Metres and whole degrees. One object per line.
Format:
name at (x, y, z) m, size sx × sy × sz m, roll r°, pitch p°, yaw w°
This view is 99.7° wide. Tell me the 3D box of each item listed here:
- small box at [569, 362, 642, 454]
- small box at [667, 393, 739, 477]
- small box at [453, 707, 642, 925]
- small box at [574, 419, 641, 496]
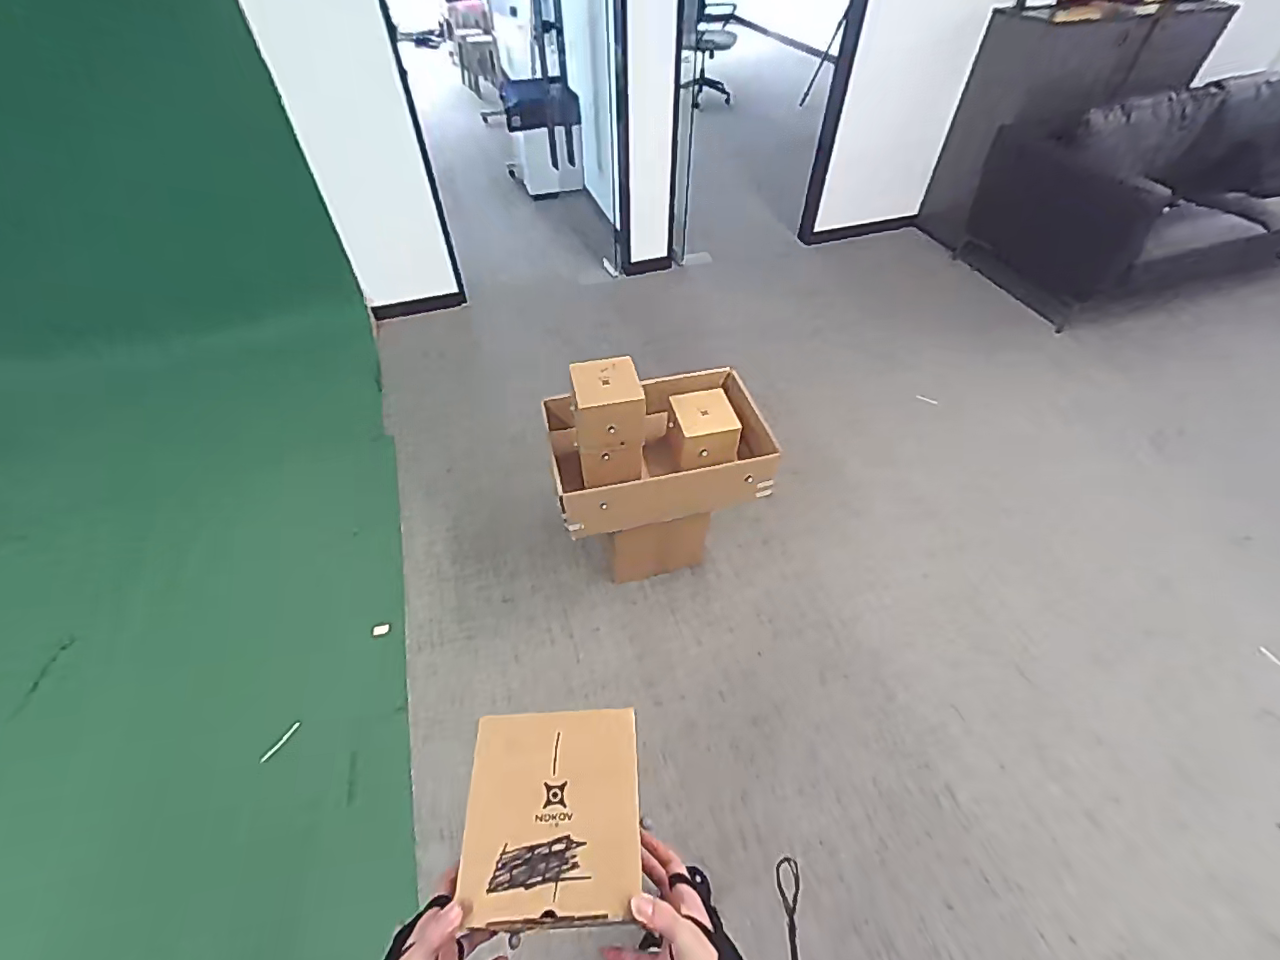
small box at (-0.089, -0.182, 1.418) m, size 0.168 × 0.176 × 0.179 m, roll -9°, pitch 50°, yaw -9°
small box at (0.178, -0.125, 1.589) m, size 0.168 × 0.176 × 0.179 m, roll -10°, pitch 50°, yaw -9°
small box at (-0.083, 0.362, 0.580) m, size 0.168 × 0.176 × 0.179 m, roll -2°, pitch 48°, yaw -2°
small box at (-0.093, -0.079, 1.546) m, size 0.168 × 0.176 × 0.179 m, roll -9°, pitch 49°, yaw -7°
